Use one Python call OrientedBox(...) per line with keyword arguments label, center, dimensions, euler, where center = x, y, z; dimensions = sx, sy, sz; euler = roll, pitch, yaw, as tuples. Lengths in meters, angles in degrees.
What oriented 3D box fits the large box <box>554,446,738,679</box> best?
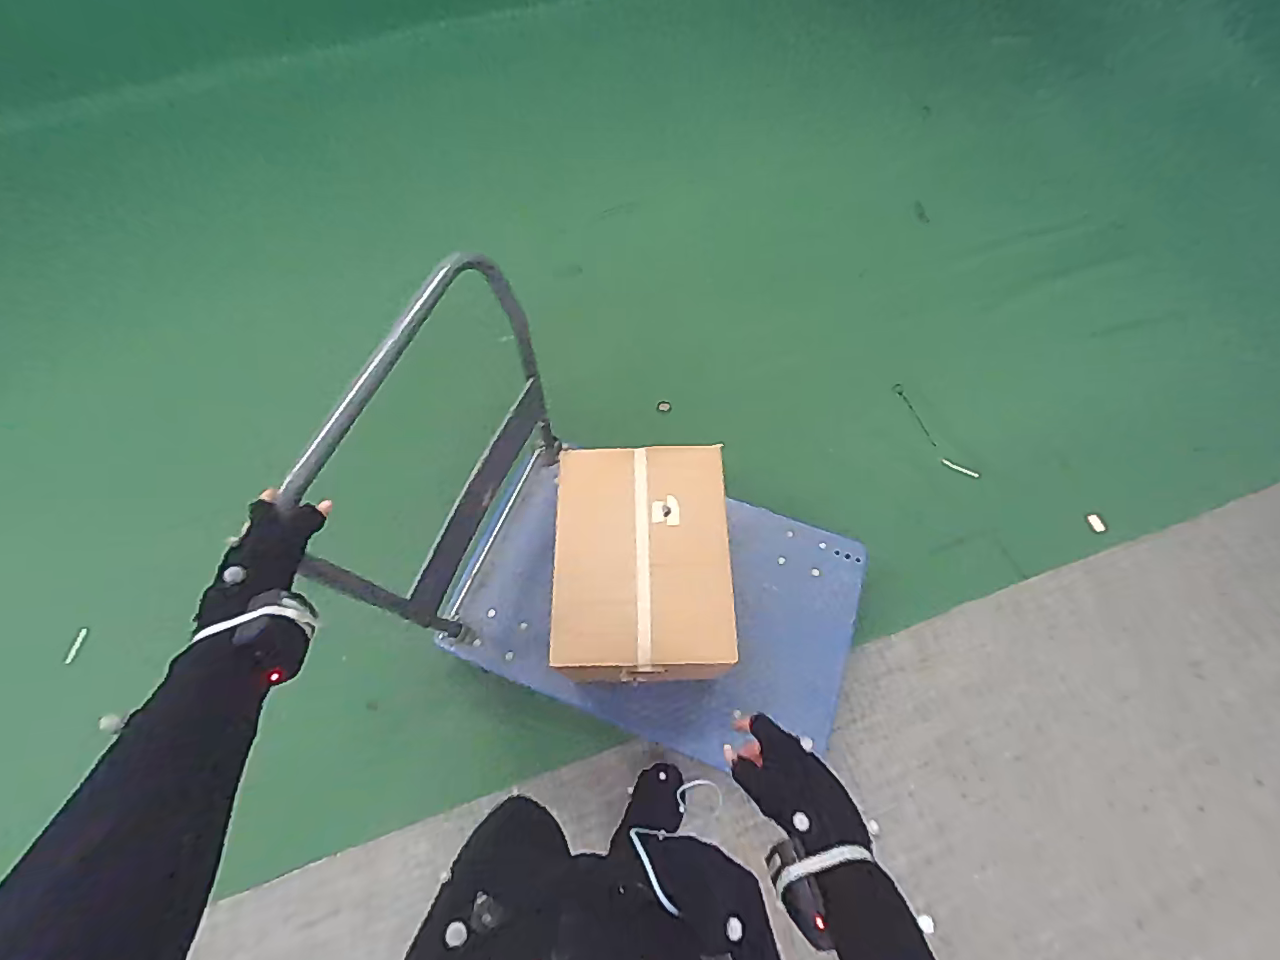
OrientedBox(label="large box", center=(0.011, 0.181, 1.115), dimensions=(0.320, 0.320, 0.408), euler=(-1, 65, 1))
